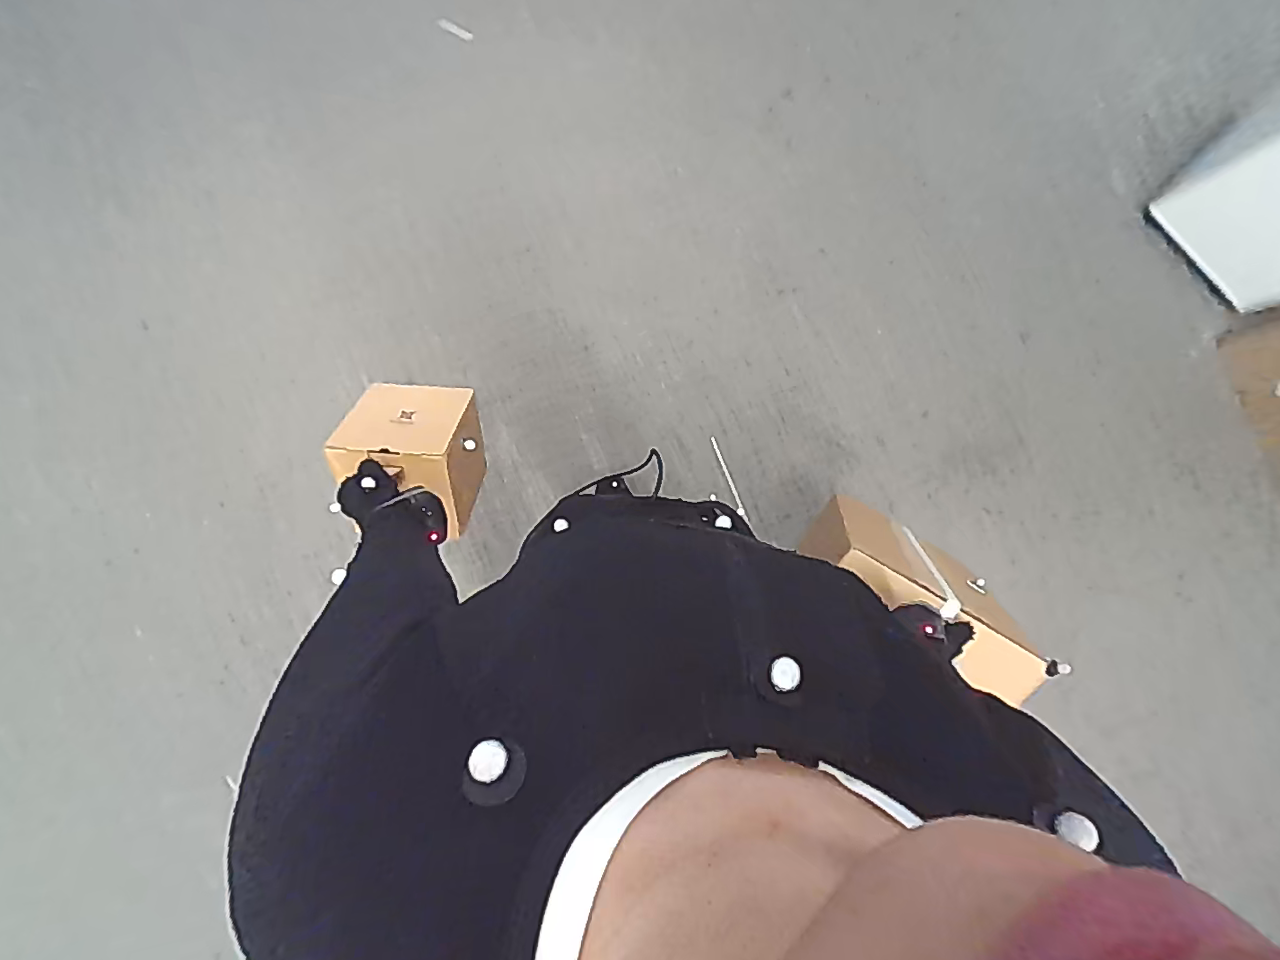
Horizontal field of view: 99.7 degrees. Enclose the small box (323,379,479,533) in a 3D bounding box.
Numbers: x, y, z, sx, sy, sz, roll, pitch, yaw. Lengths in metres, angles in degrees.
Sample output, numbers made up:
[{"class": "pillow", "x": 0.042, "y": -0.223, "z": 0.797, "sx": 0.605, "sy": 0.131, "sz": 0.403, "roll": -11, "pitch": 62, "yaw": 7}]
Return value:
[{"class": "small box", "x": -0.360, "y": -0.039, "z": 0.858, "sx": 0.168, "sy": 0.179, "sz": 0.176, "roll": 3, "pitch": 132, "yaw": -2}]
